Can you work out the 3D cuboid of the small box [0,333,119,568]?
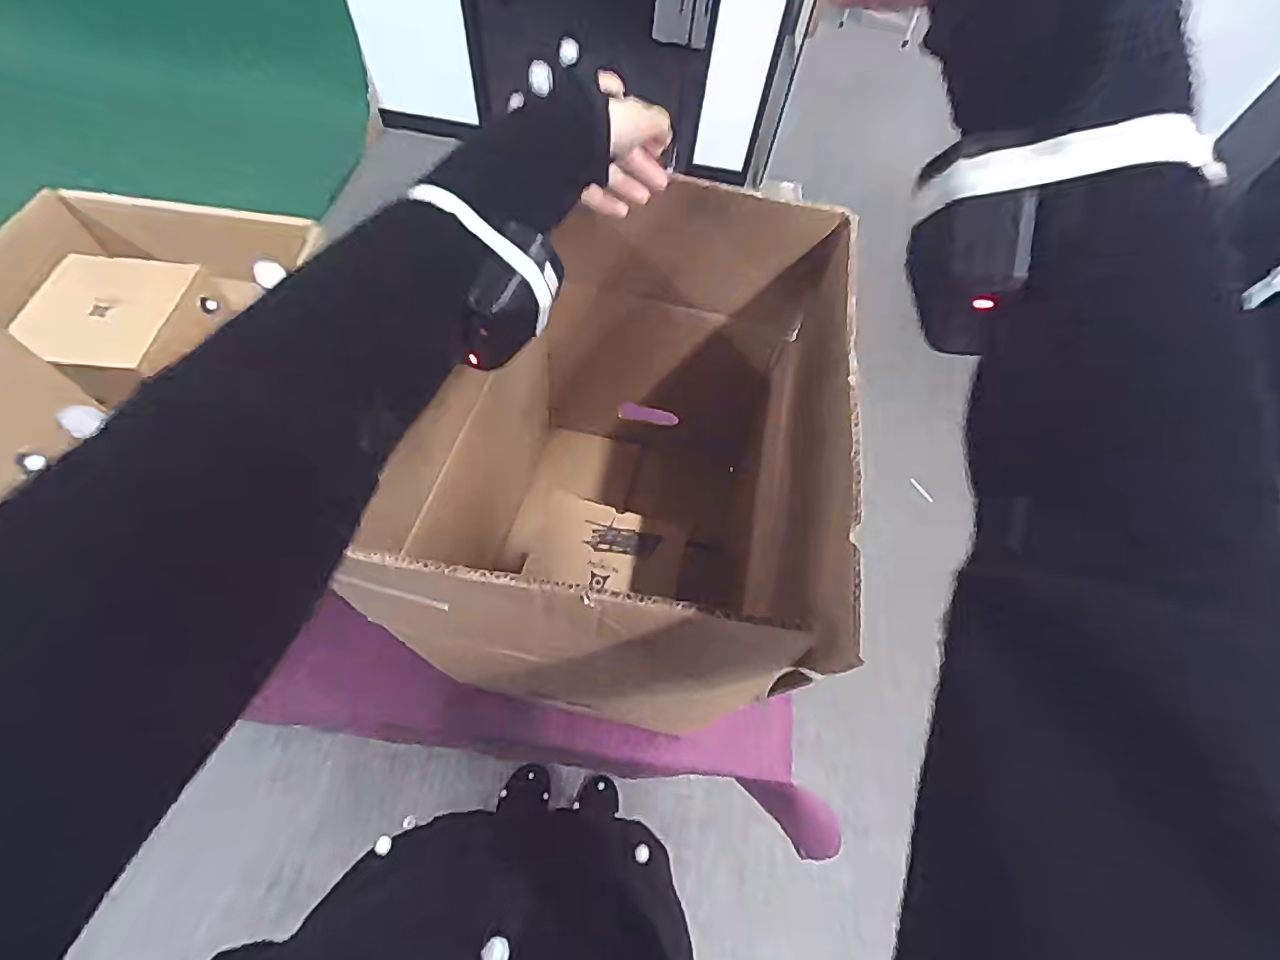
[{"bbox_3d":[-0.634,-0.033,0.464,0.179,0.176,0.168,7,60,-1],"label":"small box"}]

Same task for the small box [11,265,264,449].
[{"bbox_3d":[-0.655,-0.158,0.728,0.168,0.176,0.179,4,60,-2],"label":"small box"}]
